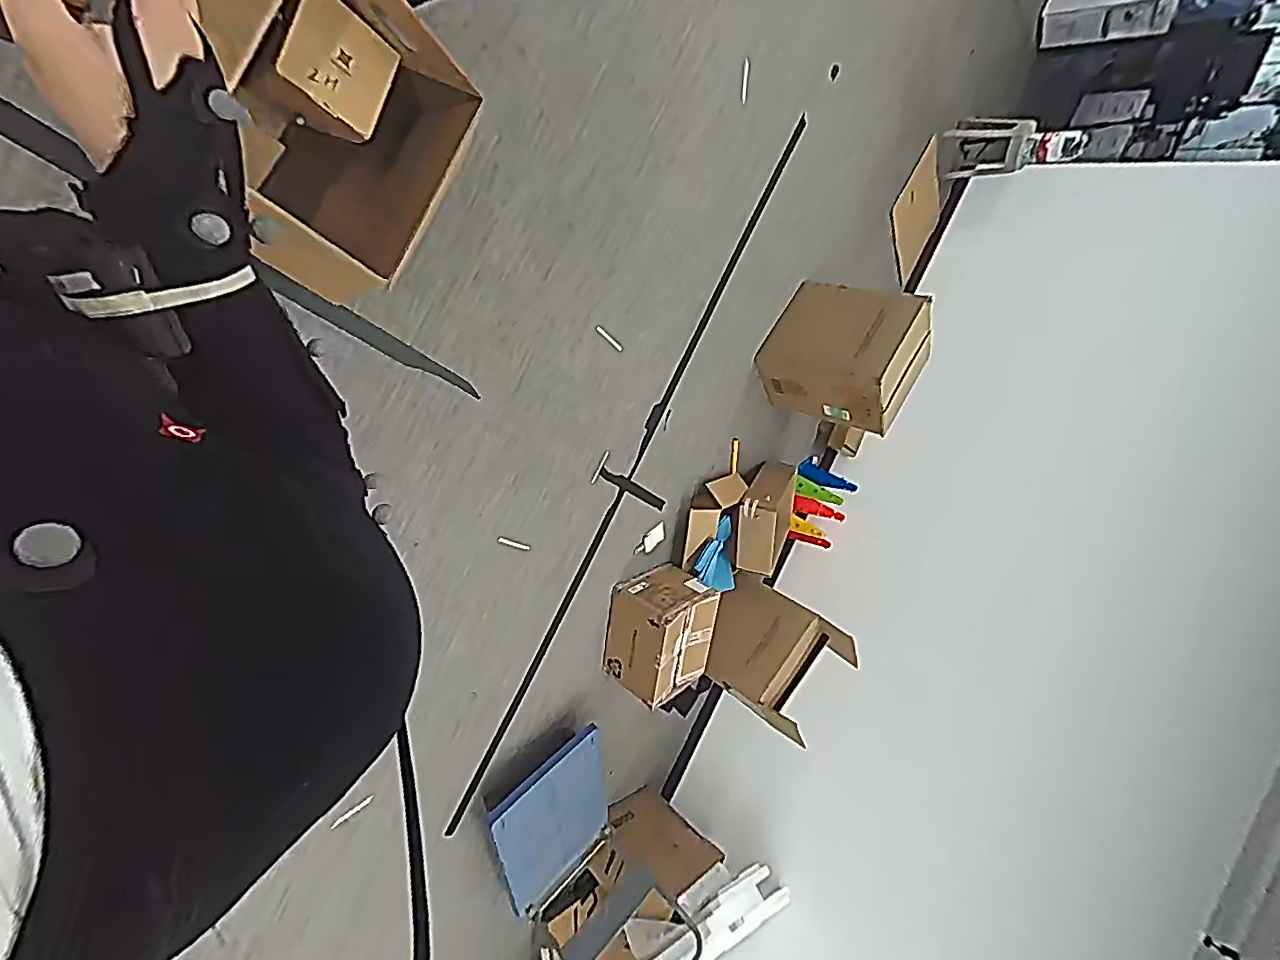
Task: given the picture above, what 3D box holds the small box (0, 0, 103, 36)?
[{"bbox_3d":[-0.345,-0.315,0.211,0.179,0.176,0.168,-5,114,-49],"label":"small box"}]
